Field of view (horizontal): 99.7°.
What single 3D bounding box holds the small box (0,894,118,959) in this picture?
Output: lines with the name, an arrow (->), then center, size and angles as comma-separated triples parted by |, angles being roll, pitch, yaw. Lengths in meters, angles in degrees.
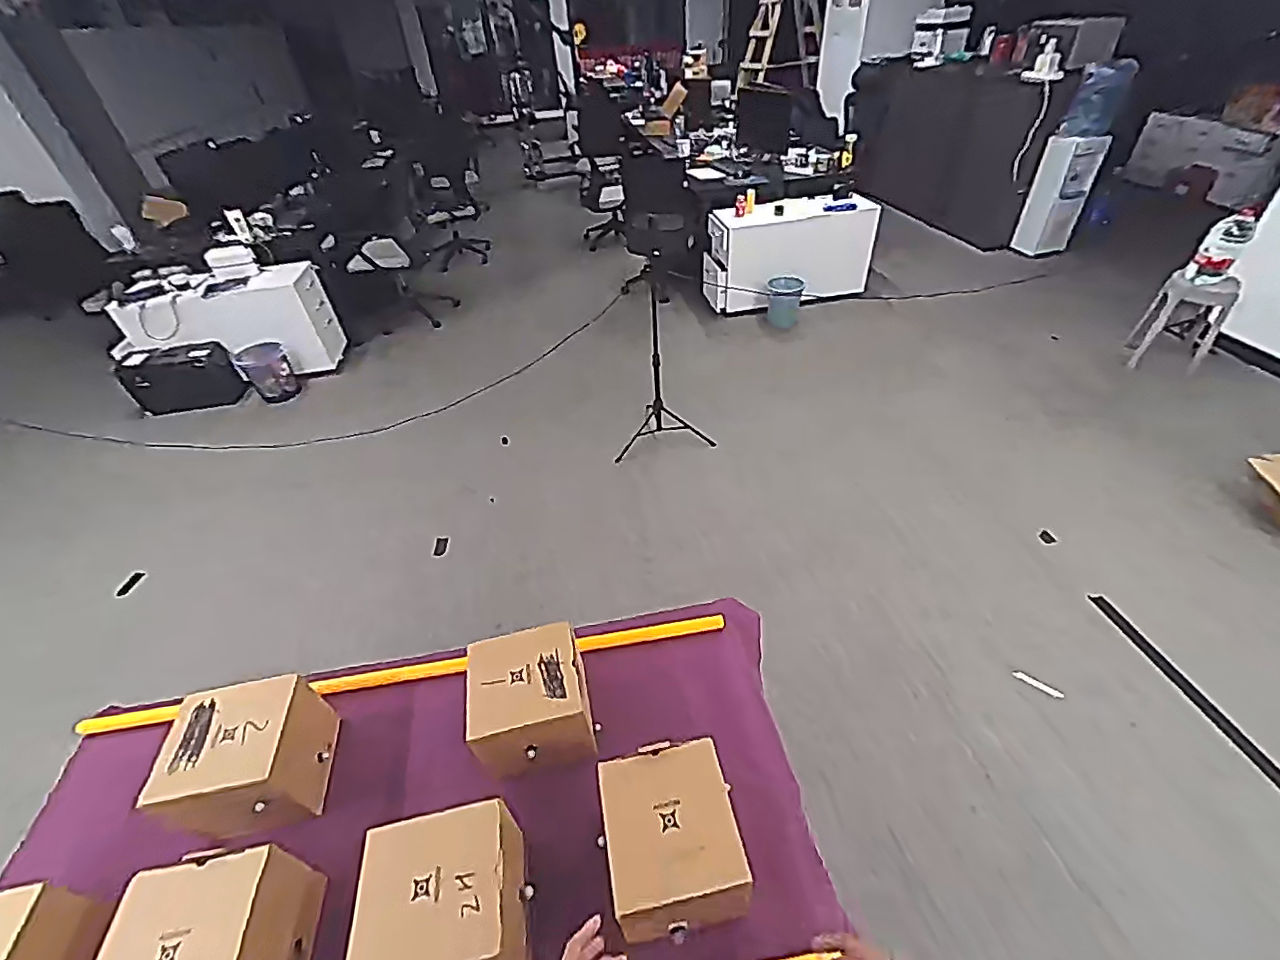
small box -> -0.807, 0.639, 0.657 | 0.179, 0.176, 0.168 | -10, 40, -6

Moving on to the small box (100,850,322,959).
small box -> -0.529, 0.601, 0.672 | 0.168, 0.176, 0.179 | -10, 41, -4

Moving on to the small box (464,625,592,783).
small box -> -0.179, 0.371, 0.896 | 0.179, 0.176, 0.168 | -12, 42, -6

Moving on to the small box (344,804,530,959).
small box -> -0.247, 0.553, 0.693 | 0.179, 0.176, 0.168 | -11, 40, -6

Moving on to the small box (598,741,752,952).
small box -> 0.042, 0.491, 0.730 | 0.168, 0.176, 0.179 | -12, 39, -4
